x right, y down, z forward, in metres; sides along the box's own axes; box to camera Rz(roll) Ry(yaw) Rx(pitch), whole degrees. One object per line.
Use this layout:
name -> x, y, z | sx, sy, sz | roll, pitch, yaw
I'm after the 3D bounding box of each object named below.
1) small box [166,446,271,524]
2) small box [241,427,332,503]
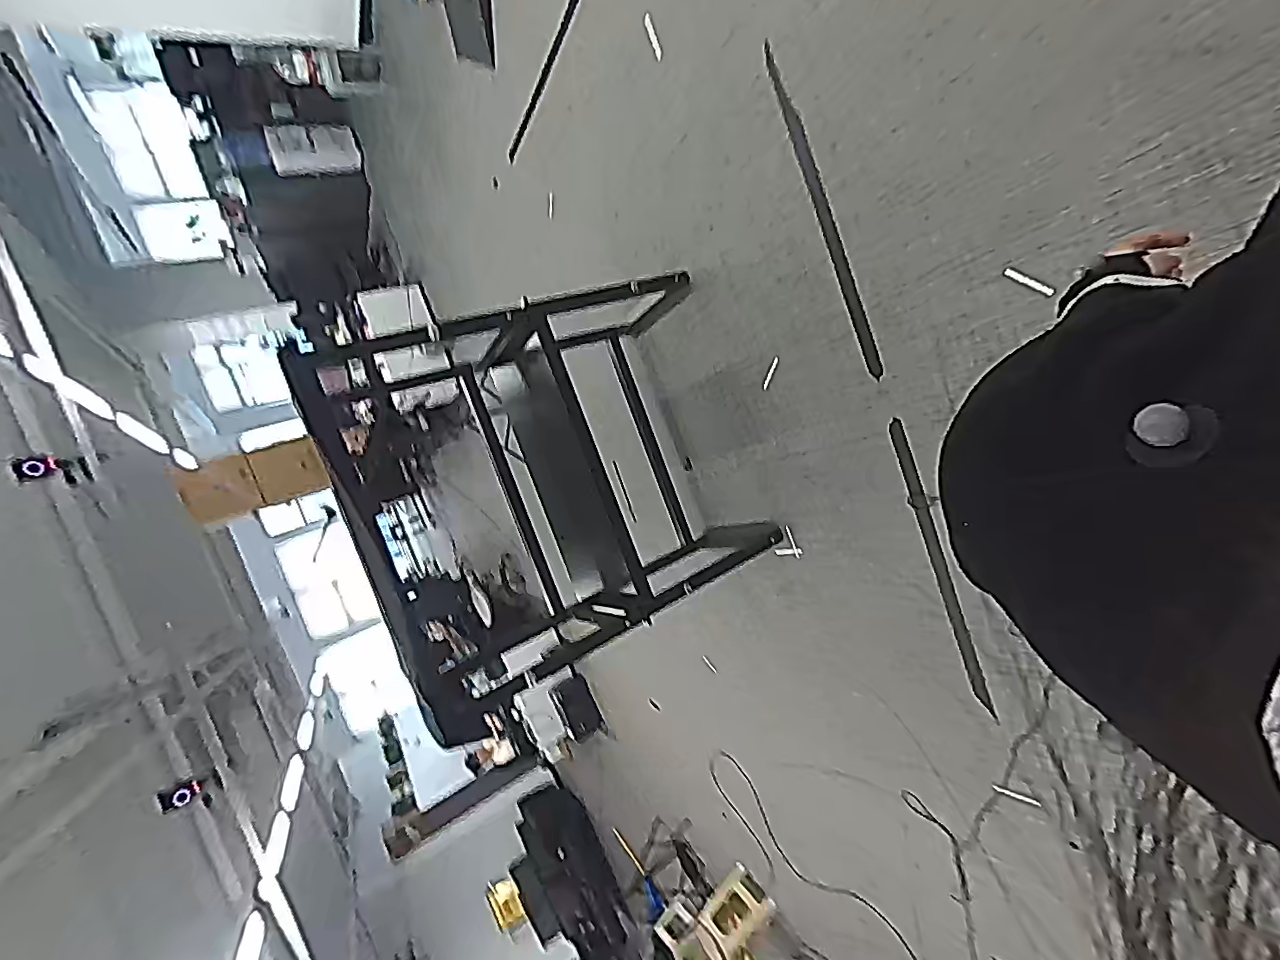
small box -> -1.139, 0.014, 1.479 | 0.179, 0.176, 0.168 | -10, 101, 61
small box -> -1.005, -0.041, 1.556 | 0.179, 0.176, 0.168 | -11, 101, 62
